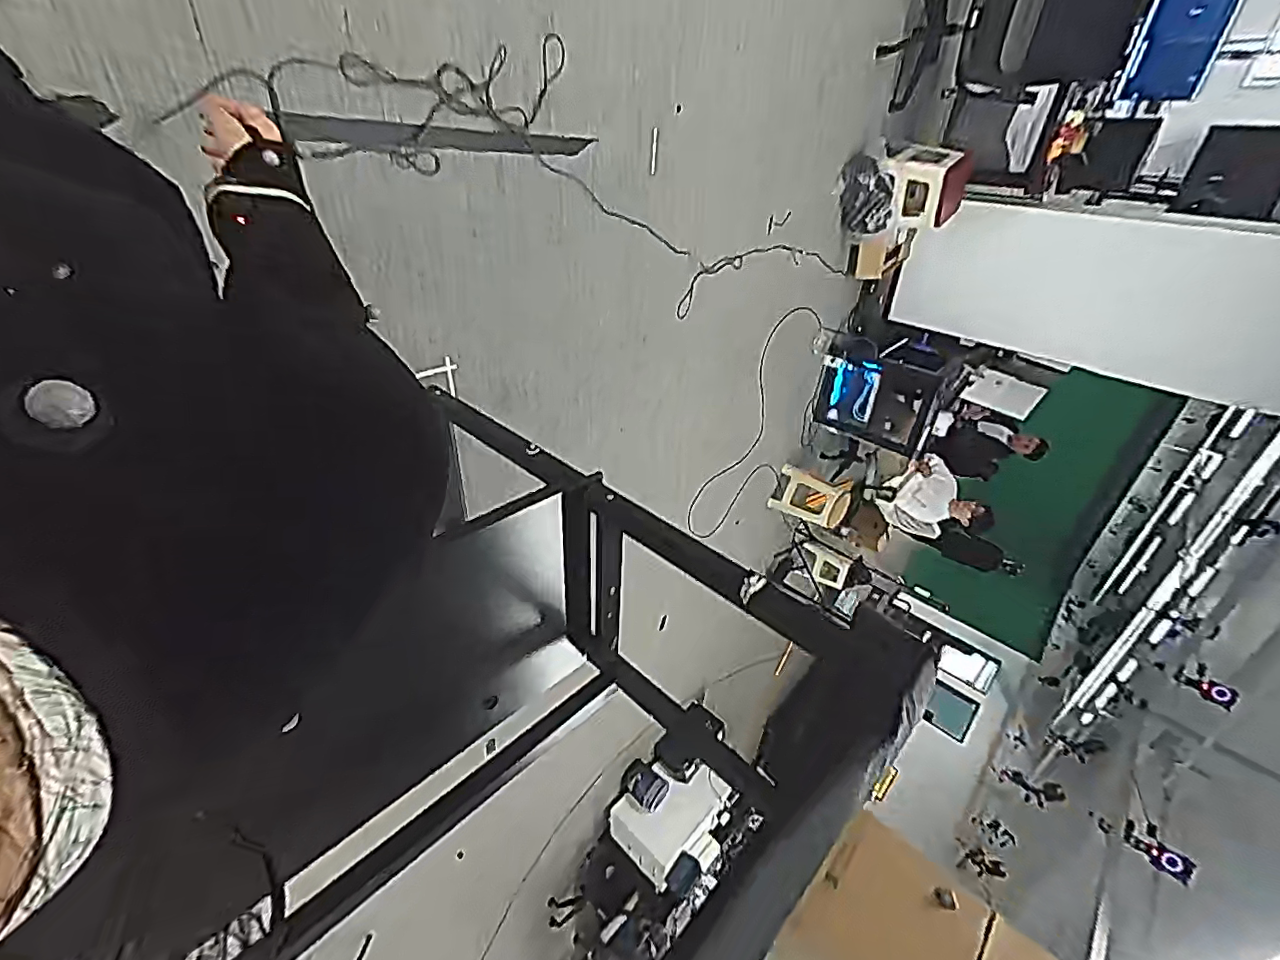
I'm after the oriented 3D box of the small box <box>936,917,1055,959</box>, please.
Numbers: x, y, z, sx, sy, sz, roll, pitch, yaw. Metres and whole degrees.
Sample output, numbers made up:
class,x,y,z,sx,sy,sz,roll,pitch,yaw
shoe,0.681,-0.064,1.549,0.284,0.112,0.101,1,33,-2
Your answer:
class,x,y,z,sx,sy,sz,roll,pitch,yaw
small box,0.394,0.610,0.557,0.168,0.176,0.179,-28,136,-39
